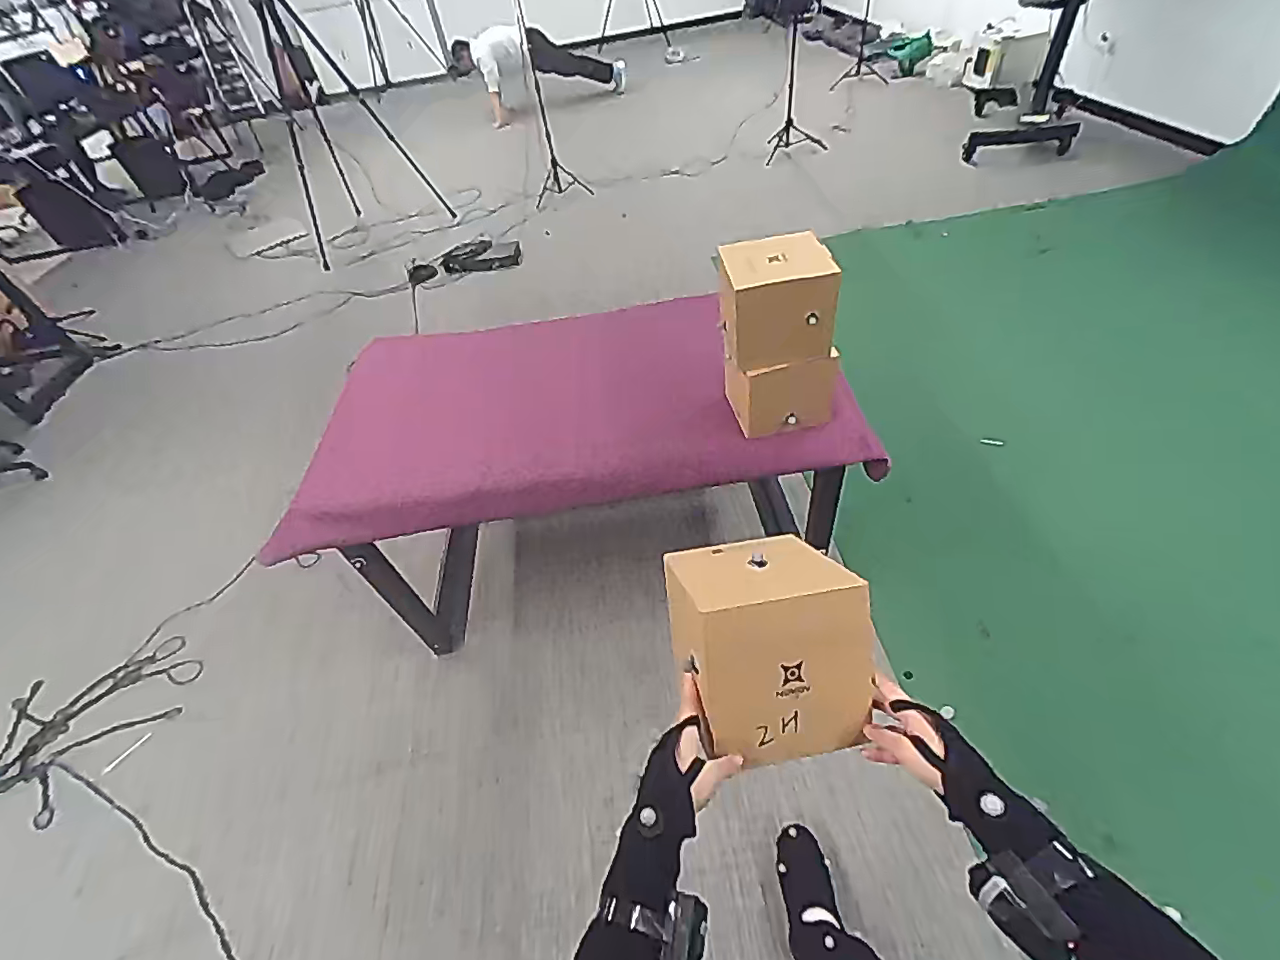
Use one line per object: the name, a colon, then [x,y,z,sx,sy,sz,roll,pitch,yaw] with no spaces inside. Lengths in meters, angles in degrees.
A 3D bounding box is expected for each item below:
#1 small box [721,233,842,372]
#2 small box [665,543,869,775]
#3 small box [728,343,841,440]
small box: [0.246,-0.318,0.981,0.179,0.176,0.168,-9,47,4]
small box: [0.127,0.175,0.591,0.168,0.179,0.176,-8,11,-8]
small box: [0.281,-0.205,1.094,0.179,0.176,0.168,-12,47,0]
